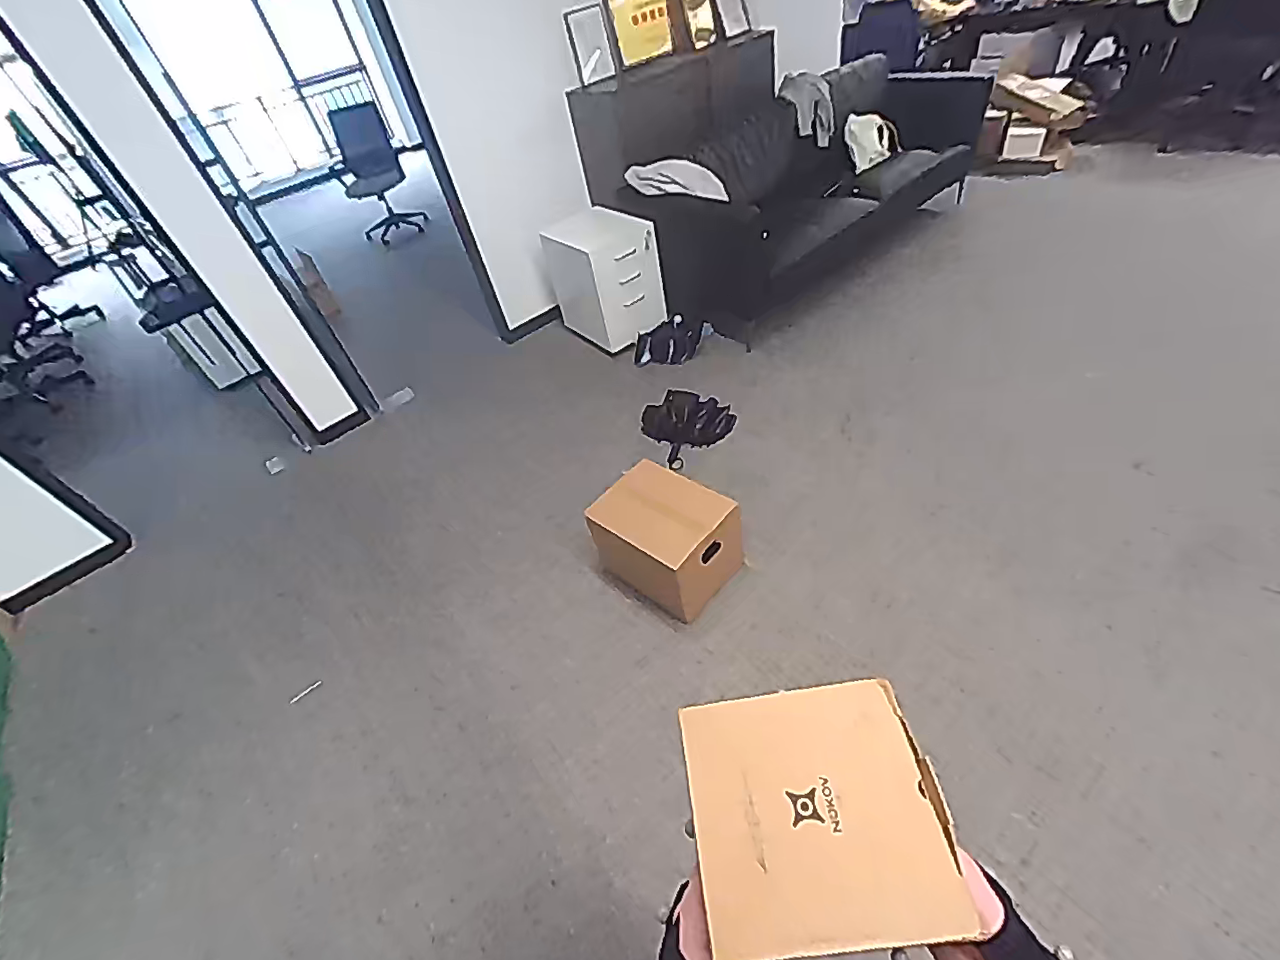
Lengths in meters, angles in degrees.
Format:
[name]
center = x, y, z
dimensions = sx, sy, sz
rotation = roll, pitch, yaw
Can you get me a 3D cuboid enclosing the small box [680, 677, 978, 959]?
[small box]
center = 0.139, 0.287, 0.460
dimensions = 0.179, 0.176, 0.168
rotation = -11, 50, 5
